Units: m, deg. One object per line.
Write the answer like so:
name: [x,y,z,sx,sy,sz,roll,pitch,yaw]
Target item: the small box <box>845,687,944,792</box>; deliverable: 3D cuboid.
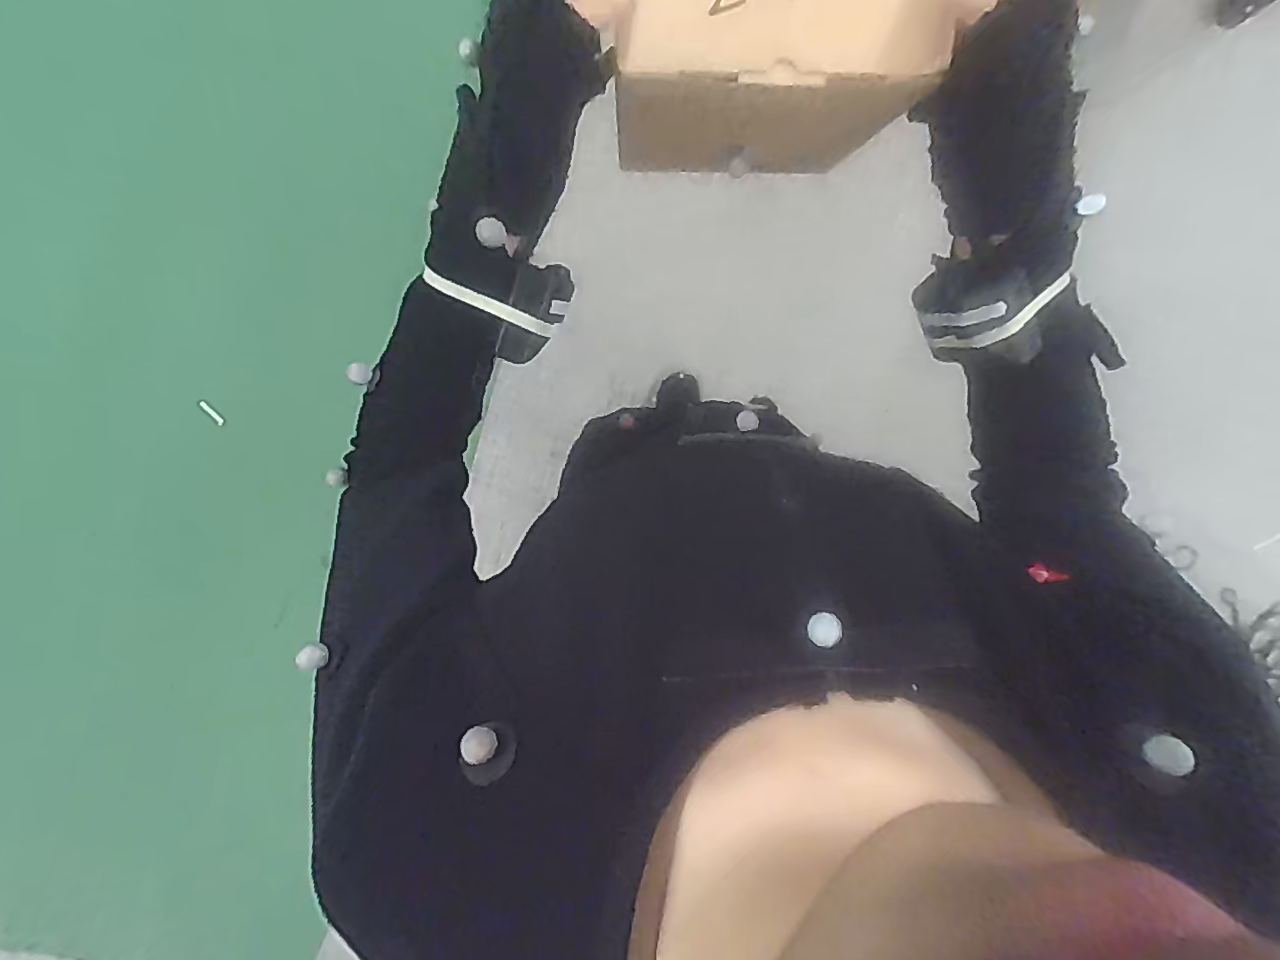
small box: [0.692,0.712,1.497,0.168,0.176,0.179,18,96,-4]
